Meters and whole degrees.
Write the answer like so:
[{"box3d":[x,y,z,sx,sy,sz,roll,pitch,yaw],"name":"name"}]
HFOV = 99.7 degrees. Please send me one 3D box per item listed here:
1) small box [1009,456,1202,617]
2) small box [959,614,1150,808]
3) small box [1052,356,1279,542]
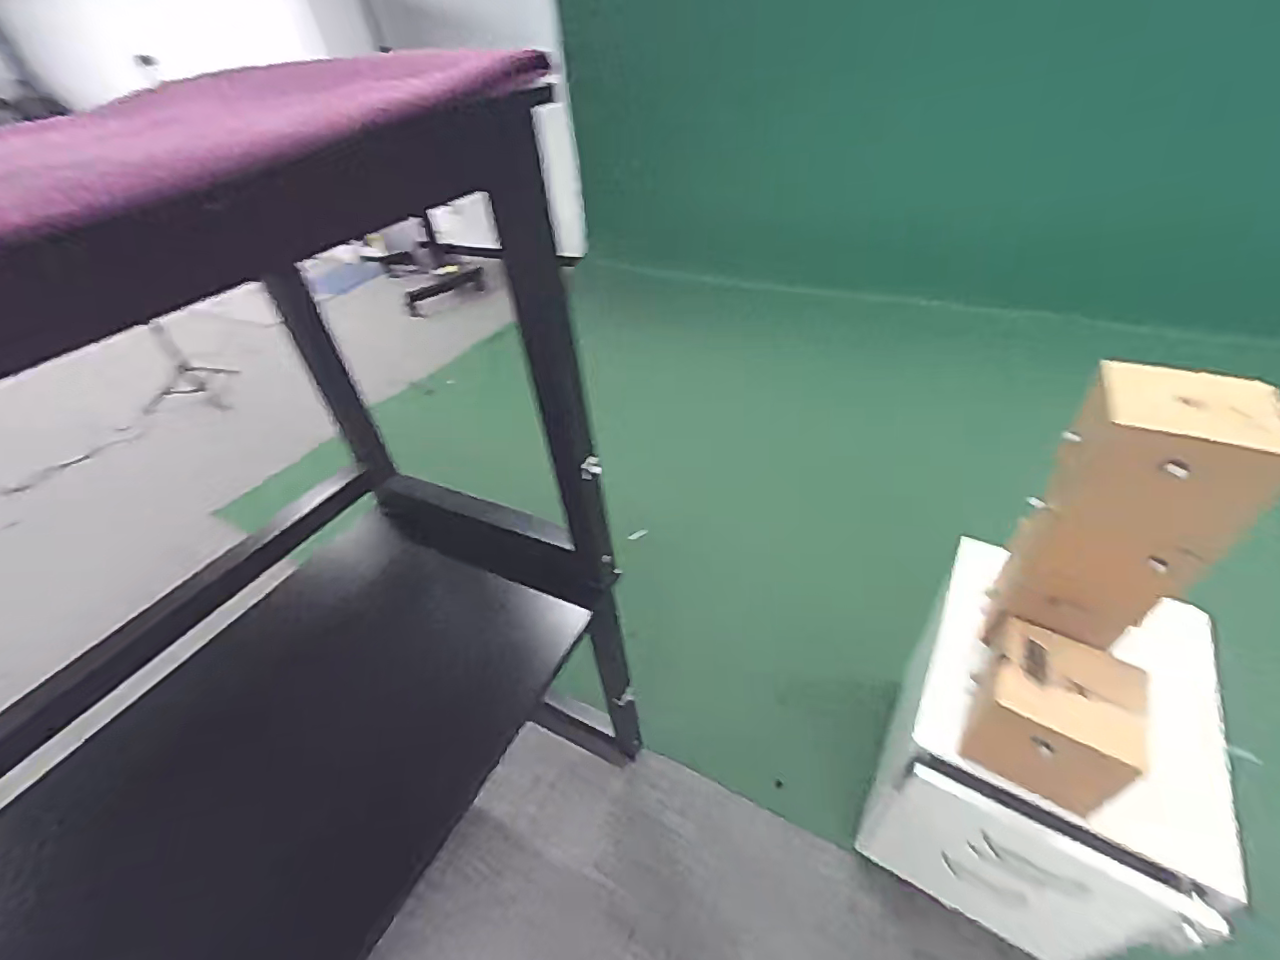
[{"box3d":[0.705,0.079,0.836,0.179,0.176,0.168,23,48,28],"name":"small box"},{"box3d":[0.598,0.339,0.795,0.179,0.176,0.168,22,47,28],"name":"small box"},{"box3d":[0.685,-0.043,0.727,0.179,0.176,0.168,17,46,23],"name":"small box"}]
